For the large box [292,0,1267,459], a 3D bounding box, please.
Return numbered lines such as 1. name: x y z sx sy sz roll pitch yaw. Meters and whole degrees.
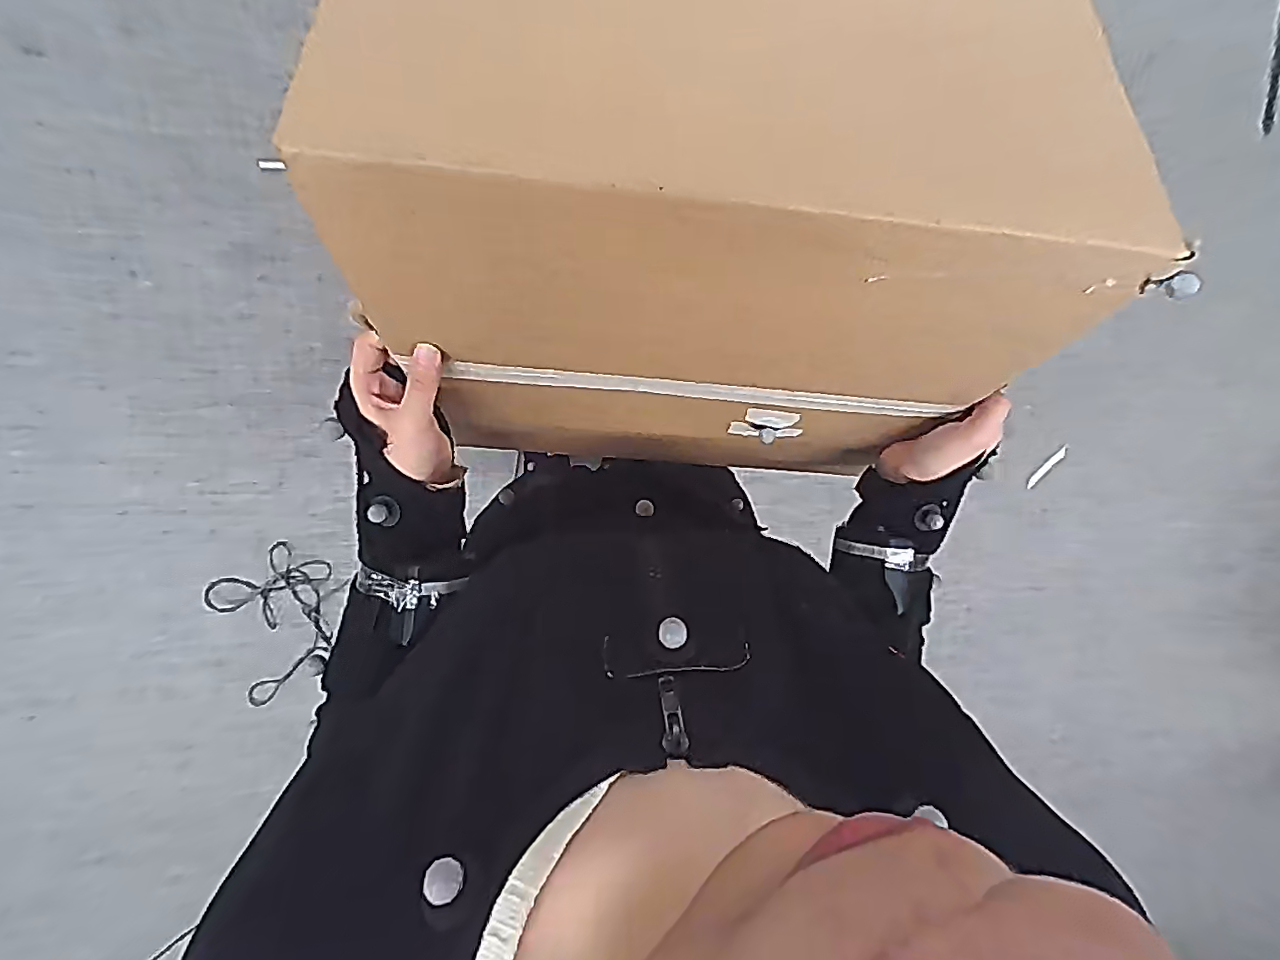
1. large box: 0.055 -0.221 0.400 0.408 0.320 0.320 3 72 -6
